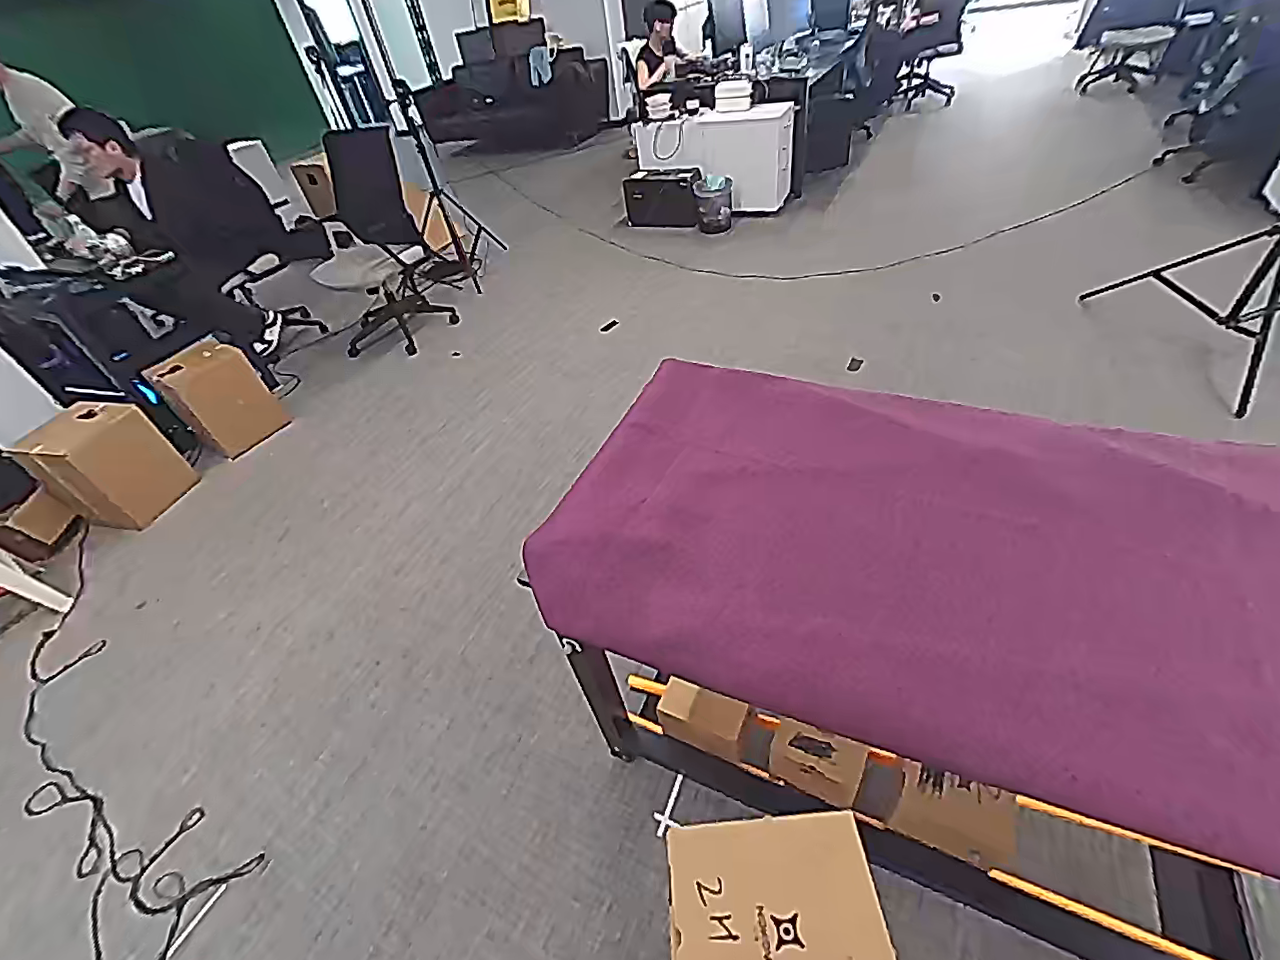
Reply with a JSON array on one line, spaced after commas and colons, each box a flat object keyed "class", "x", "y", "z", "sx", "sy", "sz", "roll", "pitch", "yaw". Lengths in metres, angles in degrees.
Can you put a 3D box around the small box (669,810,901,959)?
[{"class": "small box", "x": 0.126, "y": 0.424, "z": 0.487, "sx": 0.179, "sy": 0.176, "sz": 0.168, "roll": -9, "pitch": 38, "yaw": 6}]
